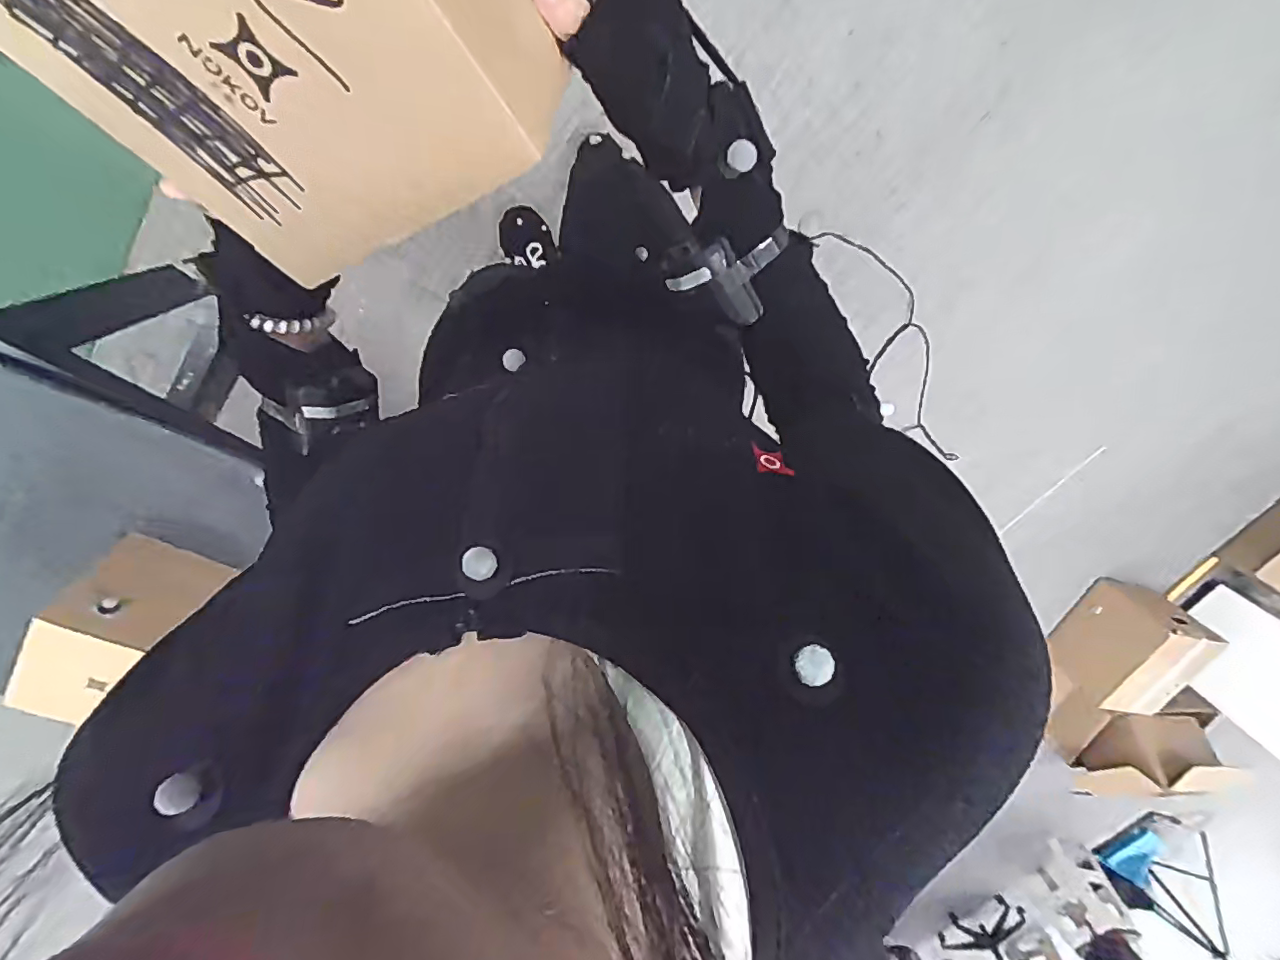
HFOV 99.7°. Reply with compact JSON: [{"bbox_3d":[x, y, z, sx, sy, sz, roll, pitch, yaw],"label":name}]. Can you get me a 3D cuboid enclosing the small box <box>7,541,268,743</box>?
[{"bbox_3d":[-0.648,0.207,0.720,0.179,0.176,0.168,31,111,-24],"label":"small box"}]
